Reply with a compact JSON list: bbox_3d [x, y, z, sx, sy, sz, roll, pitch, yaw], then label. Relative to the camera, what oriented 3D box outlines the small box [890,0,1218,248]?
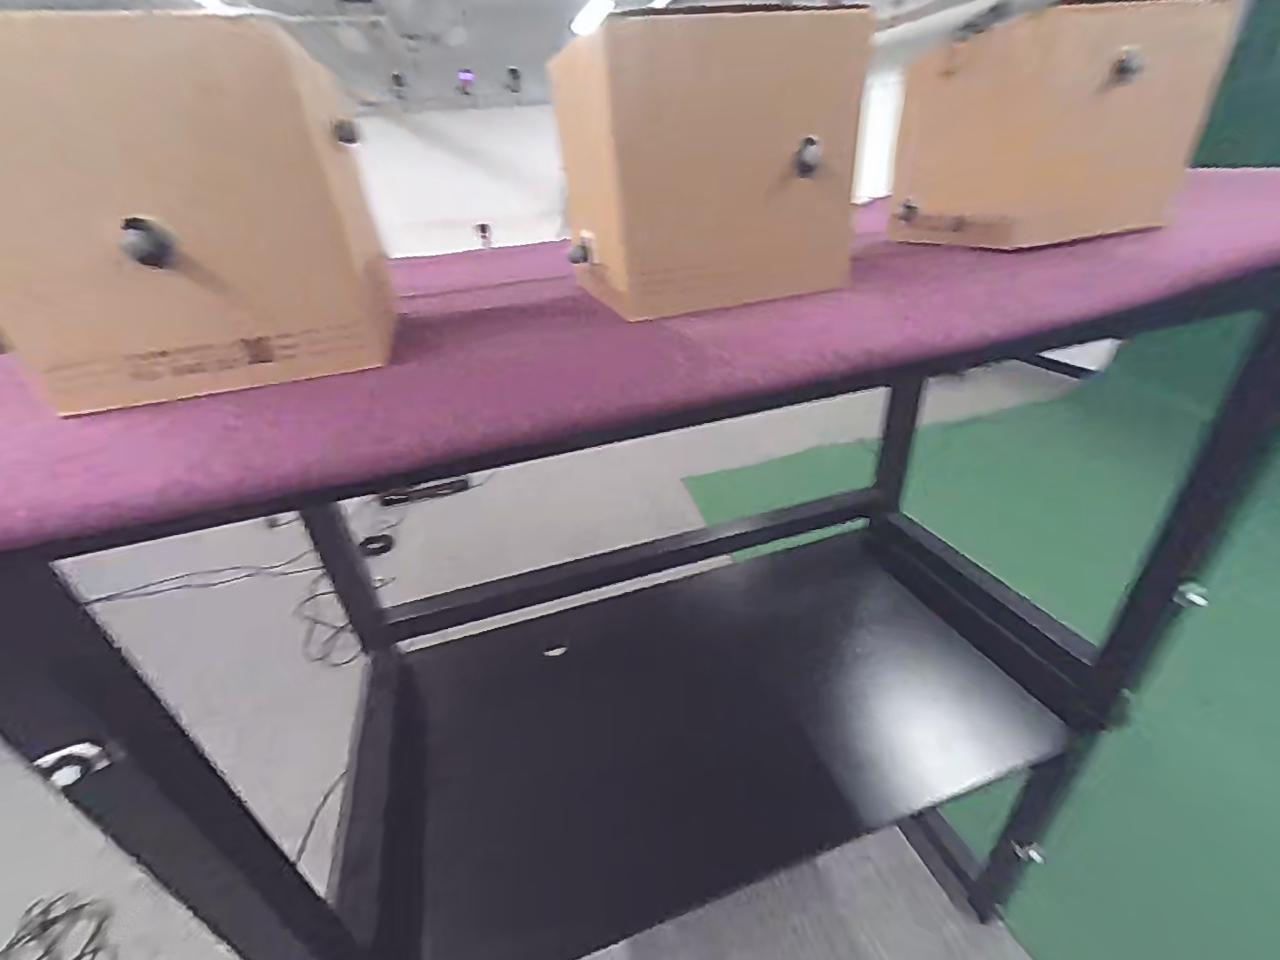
[{"bbox_3d":[0.361,-0.322,0.511,0.179,0.176,0.168,-13,29,-12],"label":"small box"}]

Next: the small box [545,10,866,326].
[{"bbox_3d":[0.038,-0.230,0.414,0.179,0.176,0.168,-15,32,-14],"label":"small box"}]

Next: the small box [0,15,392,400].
[{"bbox_3d":[-0.264,-0.157,0.332,0.168,0.176,0.179,-13,32,-15],"label":"small box"}]
